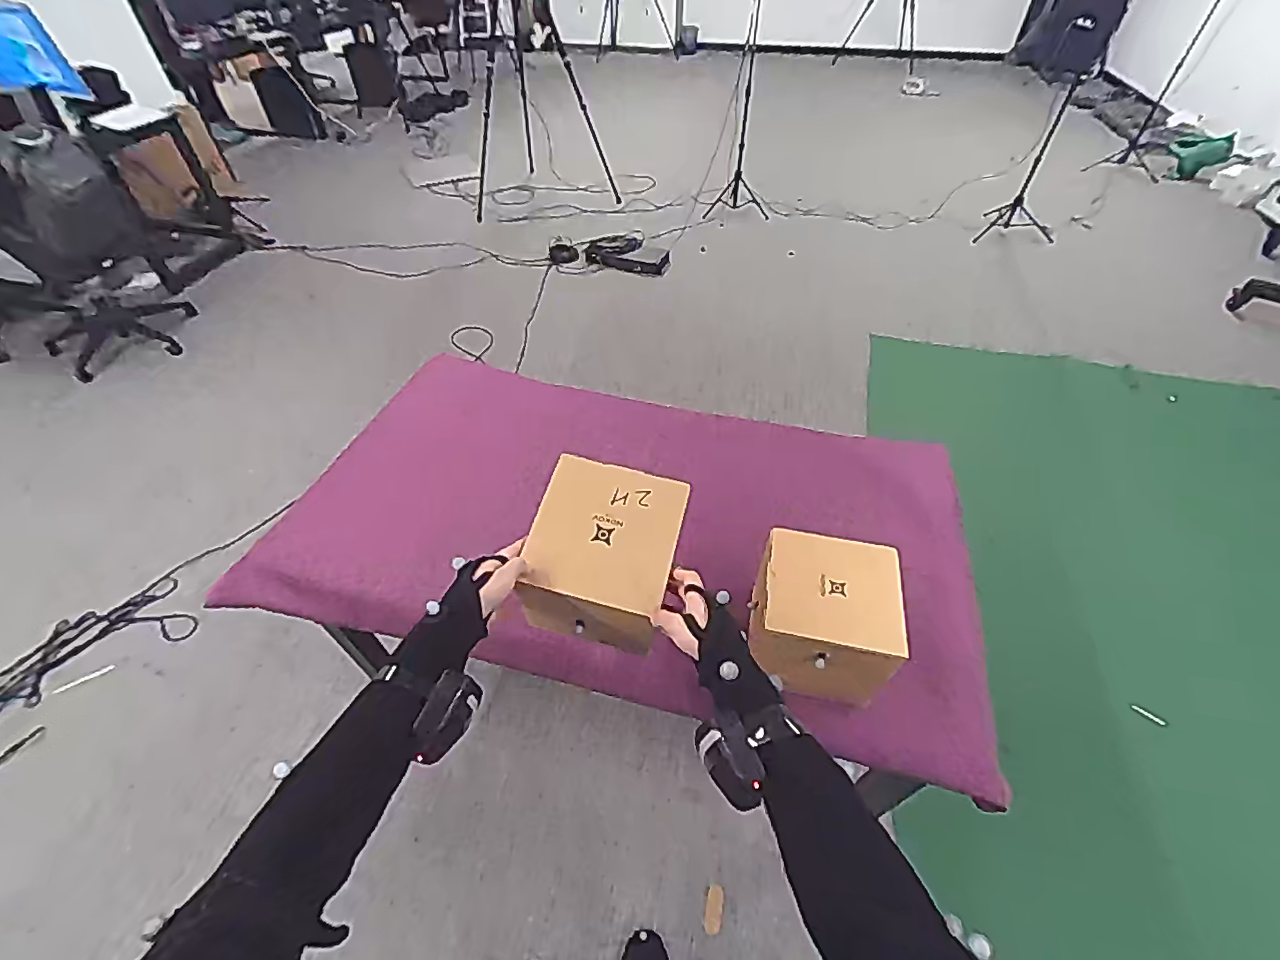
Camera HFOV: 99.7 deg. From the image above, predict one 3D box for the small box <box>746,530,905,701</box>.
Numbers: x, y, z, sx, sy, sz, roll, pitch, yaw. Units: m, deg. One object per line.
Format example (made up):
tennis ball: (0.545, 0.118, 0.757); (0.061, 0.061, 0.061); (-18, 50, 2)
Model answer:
small box: (0.257, 0.198, 0.777); (0.179, 0.176, 0.168); (8, 49, 10)

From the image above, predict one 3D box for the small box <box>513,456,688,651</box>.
small box: (-0.043, 0.101, 0.694); (0.168, 0.176, 0.179); (15, 58, 5)
